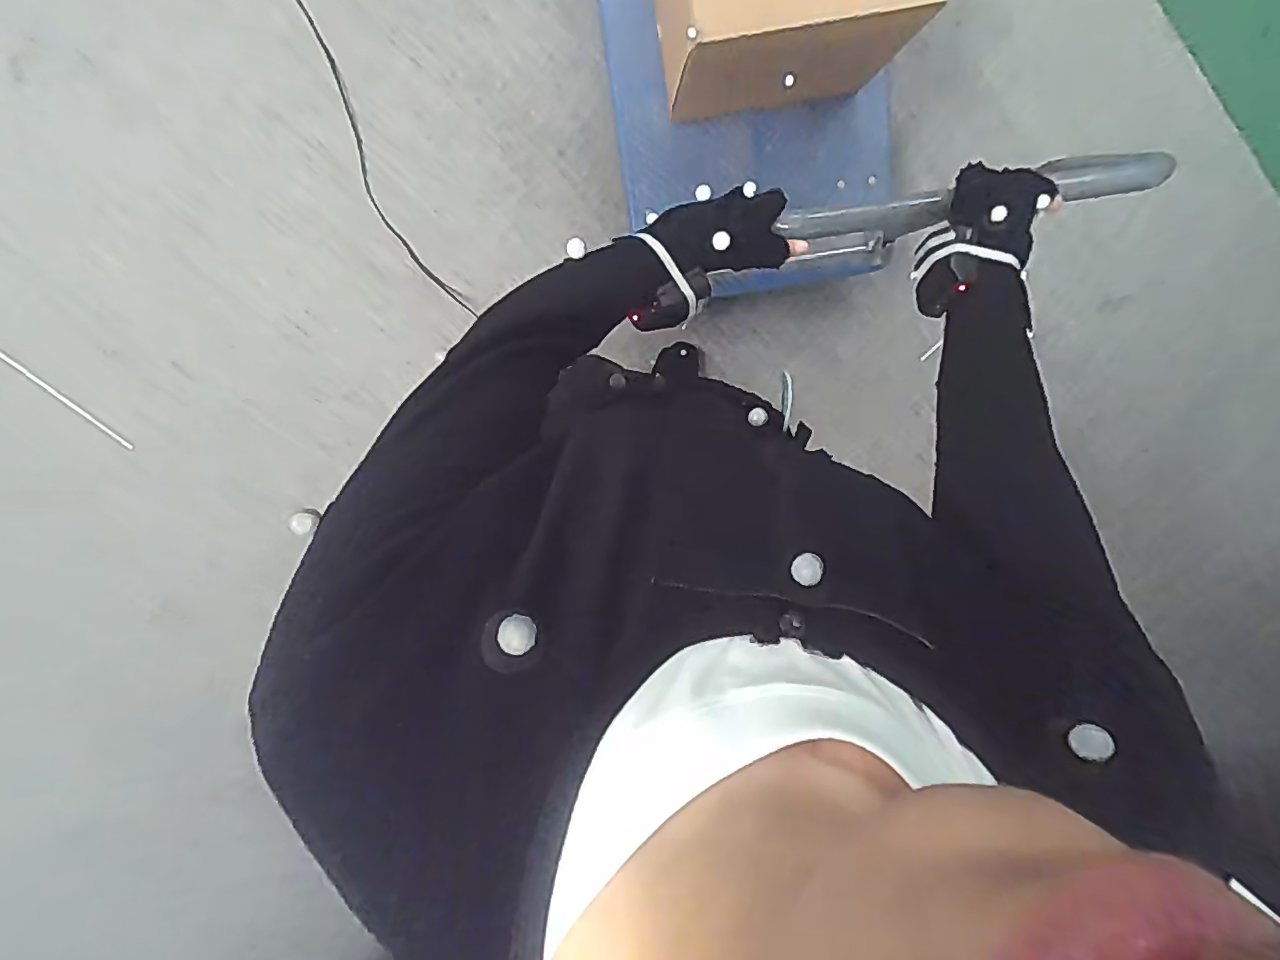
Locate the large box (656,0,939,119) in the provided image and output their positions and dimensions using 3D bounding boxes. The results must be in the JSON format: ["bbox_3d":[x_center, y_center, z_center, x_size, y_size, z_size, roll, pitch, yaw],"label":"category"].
[{"bbox_3d":[0.245,-0.892,0.949,0.408,0.320,0.320,-10,104,0],"label":"large box"}]
